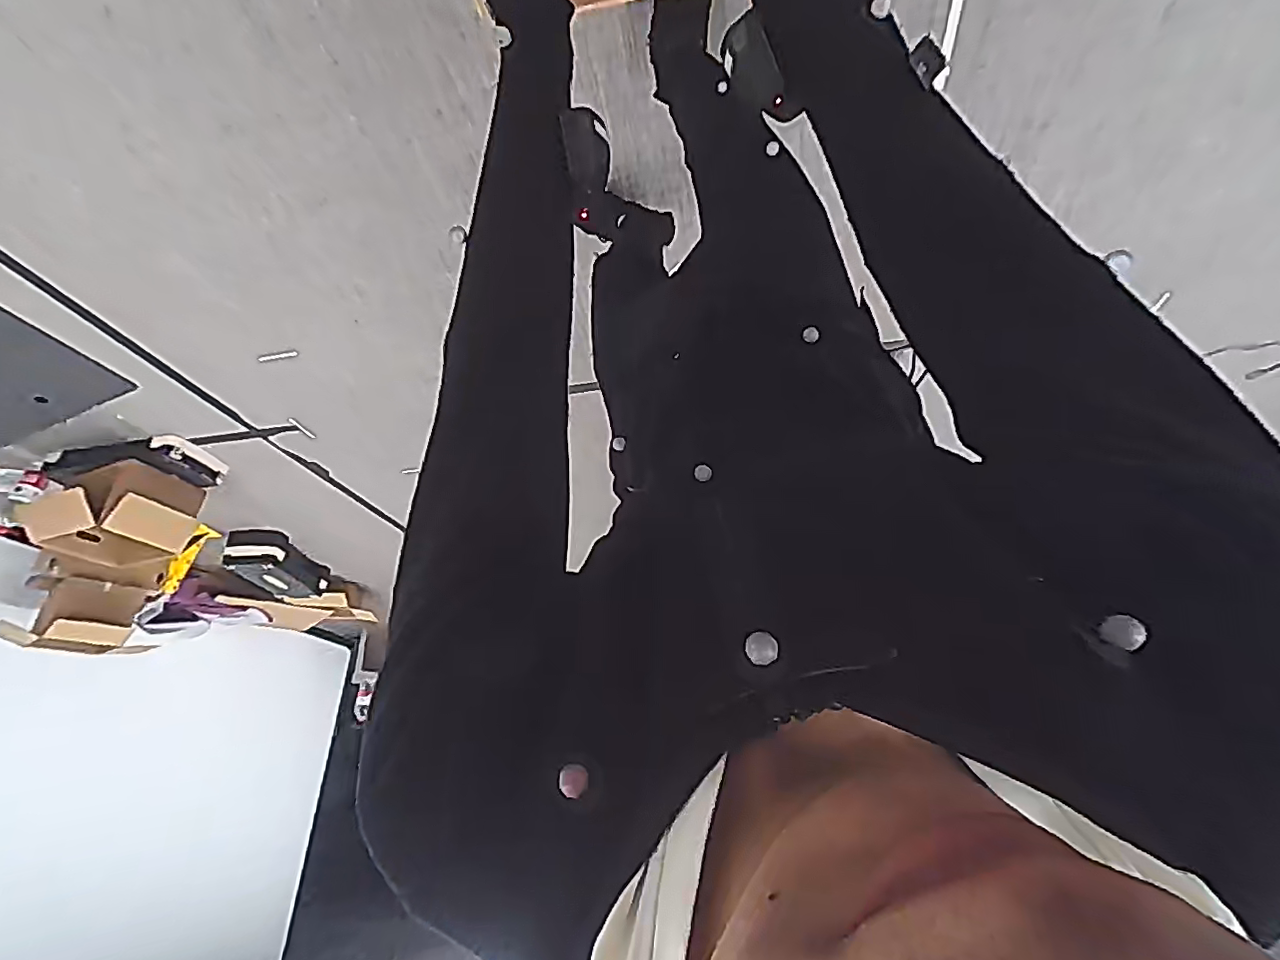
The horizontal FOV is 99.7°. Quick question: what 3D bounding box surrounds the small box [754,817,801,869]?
[{"bbox_3d":[0.583,1.545,2.308,0.168,0.176,0.179,-7,151,7],"label":"small box"}]
